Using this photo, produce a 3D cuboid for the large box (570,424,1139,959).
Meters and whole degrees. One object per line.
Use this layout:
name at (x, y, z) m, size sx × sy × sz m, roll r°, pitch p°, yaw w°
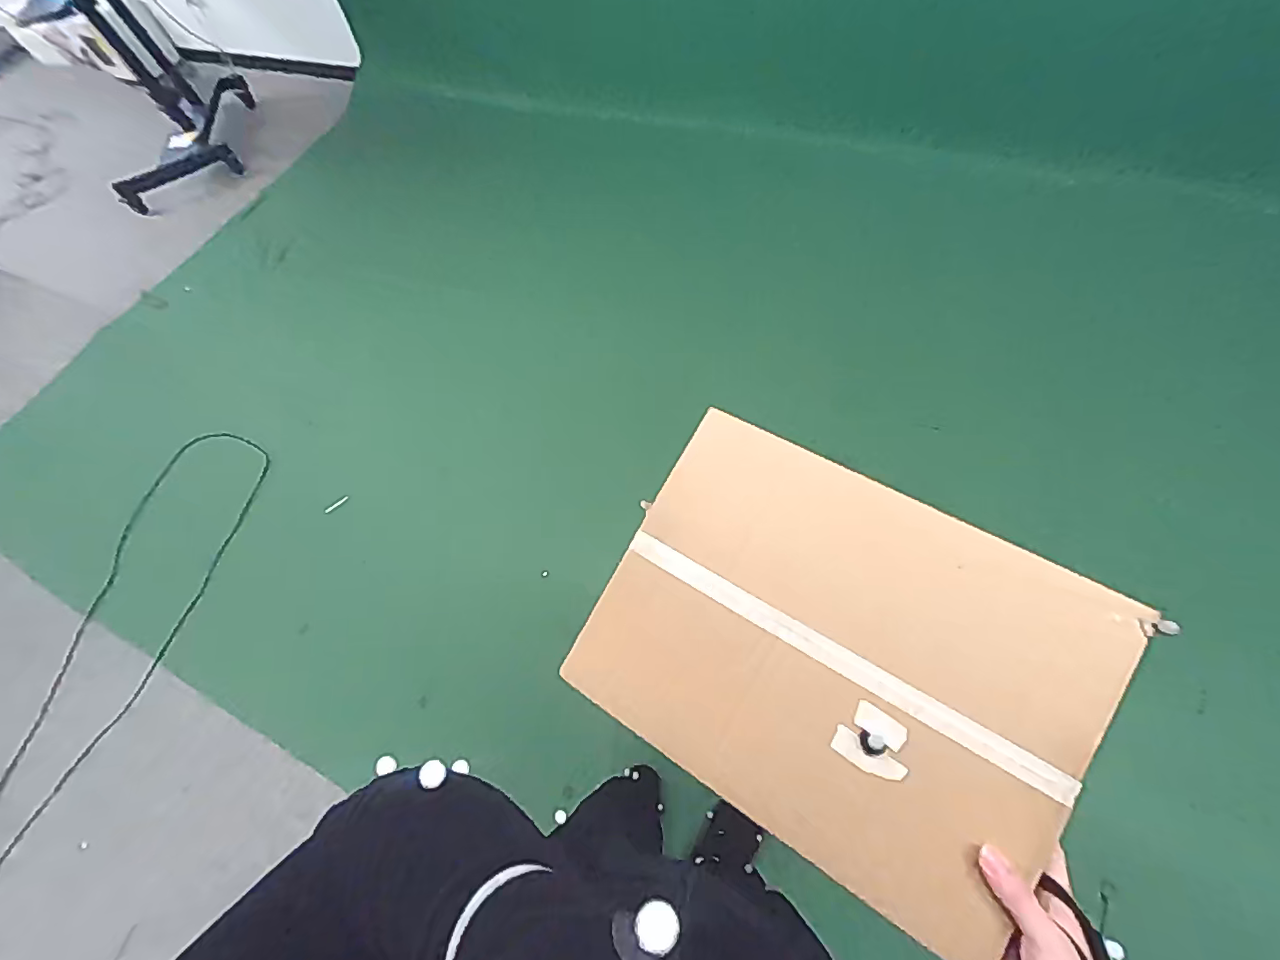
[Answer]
large box at (0.201, 0.189, 0.626) m, size 0.408 × 0.320 × 0.320 m, roll 28°, pitch 85°, yaw 19°
